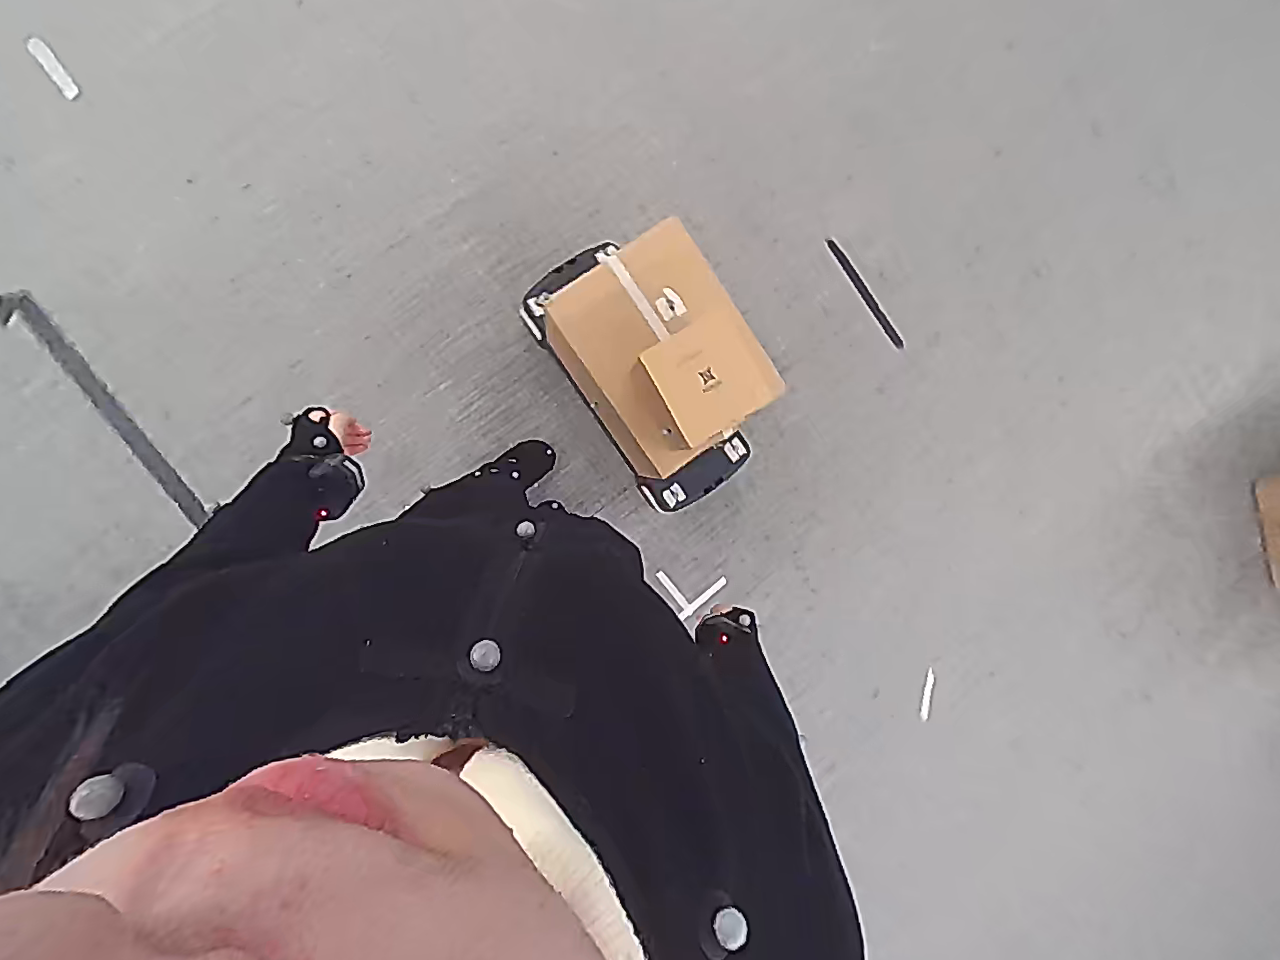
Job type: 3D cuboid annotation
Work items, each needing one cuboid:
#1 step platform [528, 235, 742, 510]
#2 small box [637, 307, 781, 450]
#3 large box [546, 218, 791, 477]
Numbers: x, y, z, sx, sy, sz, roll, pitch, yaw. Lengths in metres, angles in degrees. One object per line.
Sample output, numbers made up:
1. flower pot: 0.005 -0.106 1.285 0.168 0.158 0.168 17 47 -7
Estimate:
1. step platform: -0.013 -0.264 1.402 0.286 0.204 0.684 -30 95 -6
2. small box: 0.110 -0.165 0.933 0.168 0.176 0.179 -30 95 -6
3. large box: 0.044 -0.253 1.170 0.320 0.320 0.408 -35 95 -6
